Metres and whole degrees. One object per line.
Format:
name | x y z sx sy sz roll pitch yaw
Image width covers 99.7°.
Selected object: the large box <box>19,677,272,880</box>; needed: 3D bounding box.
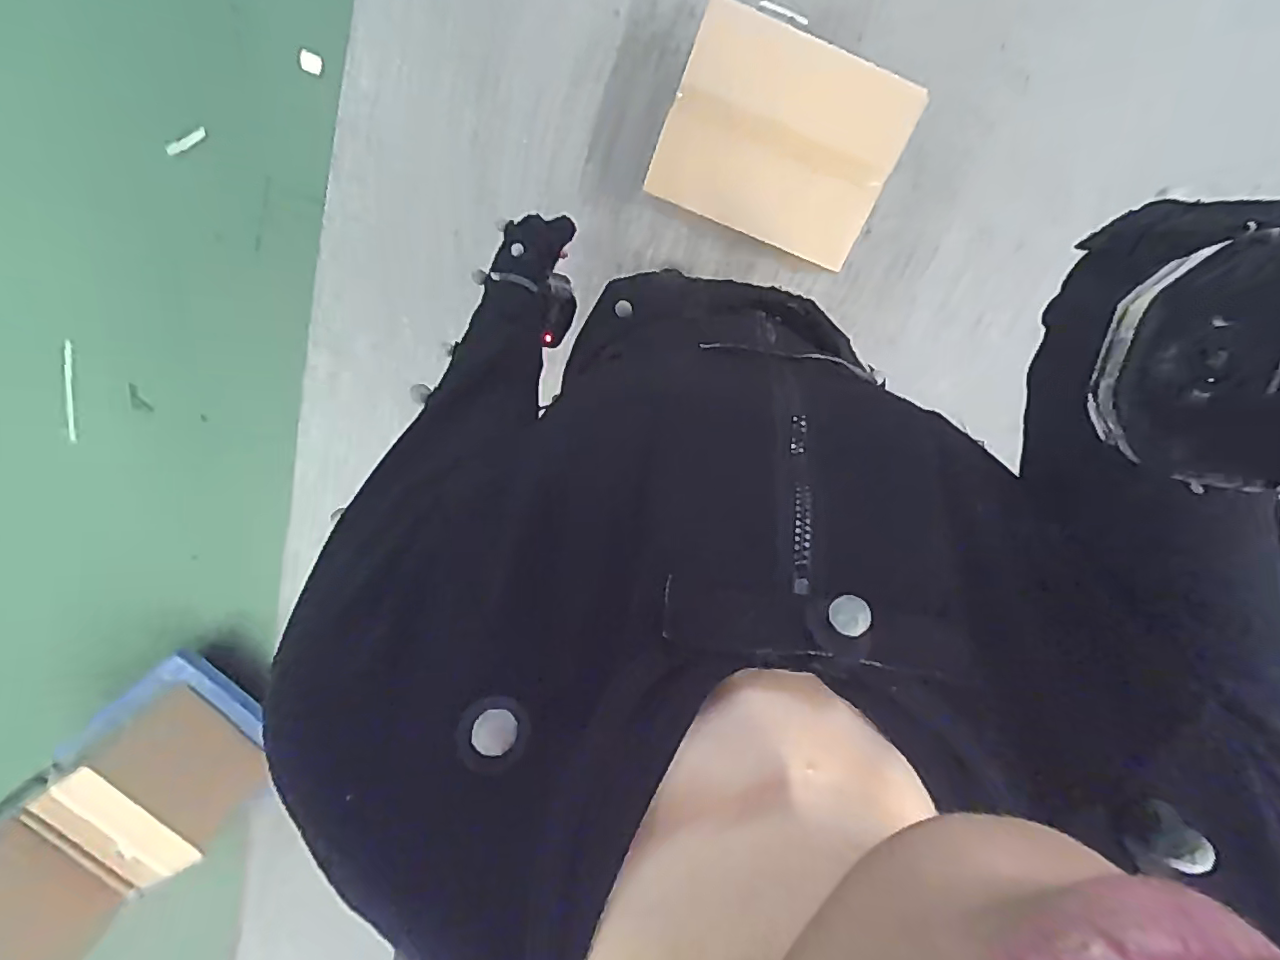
large box | -1.447 0.884 1.623 0.320 0.320 0.408 -31 107 16
